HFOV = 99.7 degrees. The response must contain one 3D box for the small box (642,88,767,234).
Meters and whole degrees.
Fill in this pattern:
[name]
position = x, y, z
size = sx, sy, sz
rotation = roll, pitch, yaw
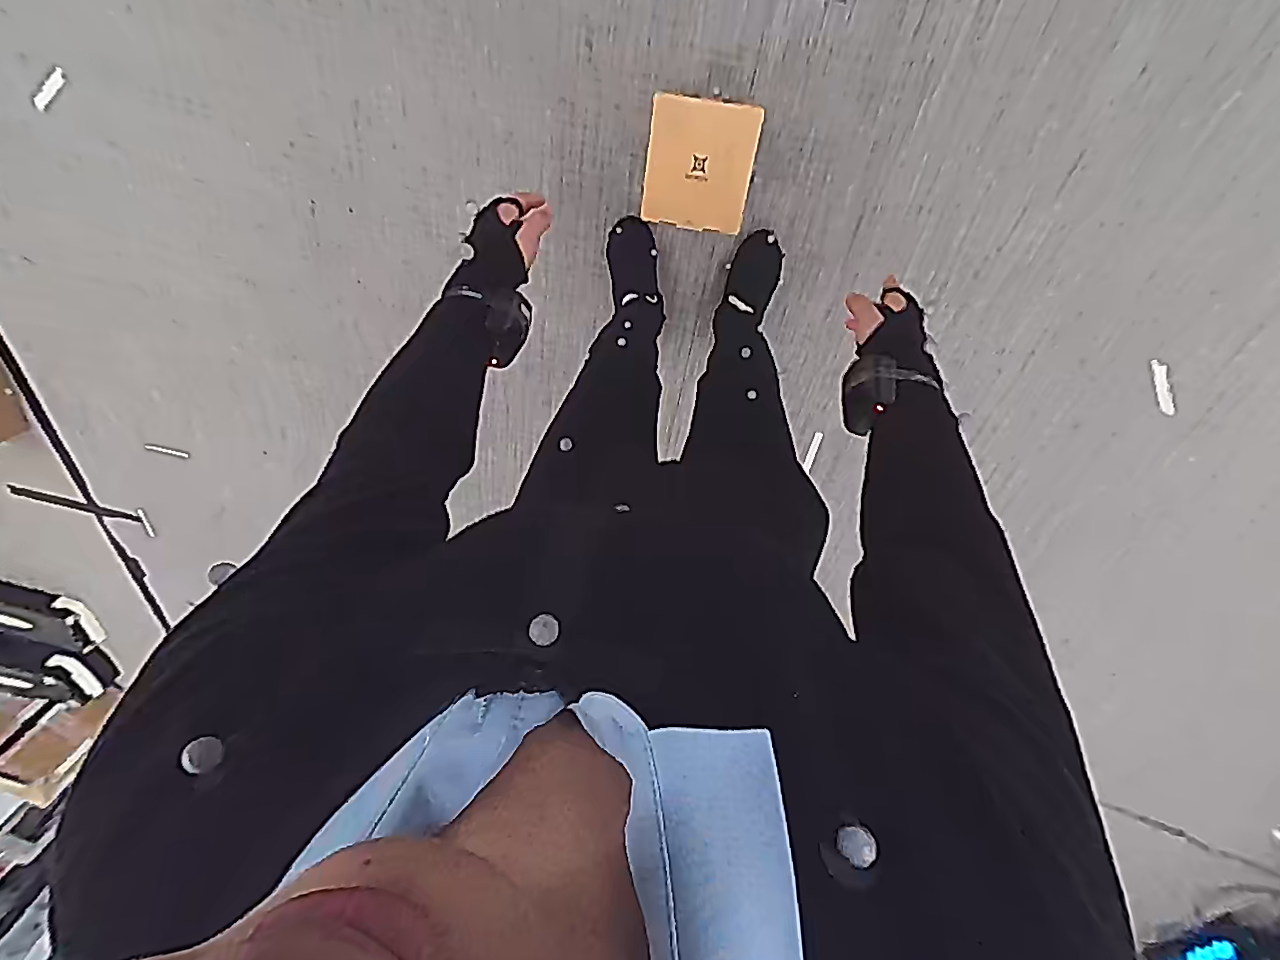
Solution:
[small box]
position = 0.103, -0.527, 0.889
size = 0.168, 0.176, 0.179
rotation = 11, 128, 3
